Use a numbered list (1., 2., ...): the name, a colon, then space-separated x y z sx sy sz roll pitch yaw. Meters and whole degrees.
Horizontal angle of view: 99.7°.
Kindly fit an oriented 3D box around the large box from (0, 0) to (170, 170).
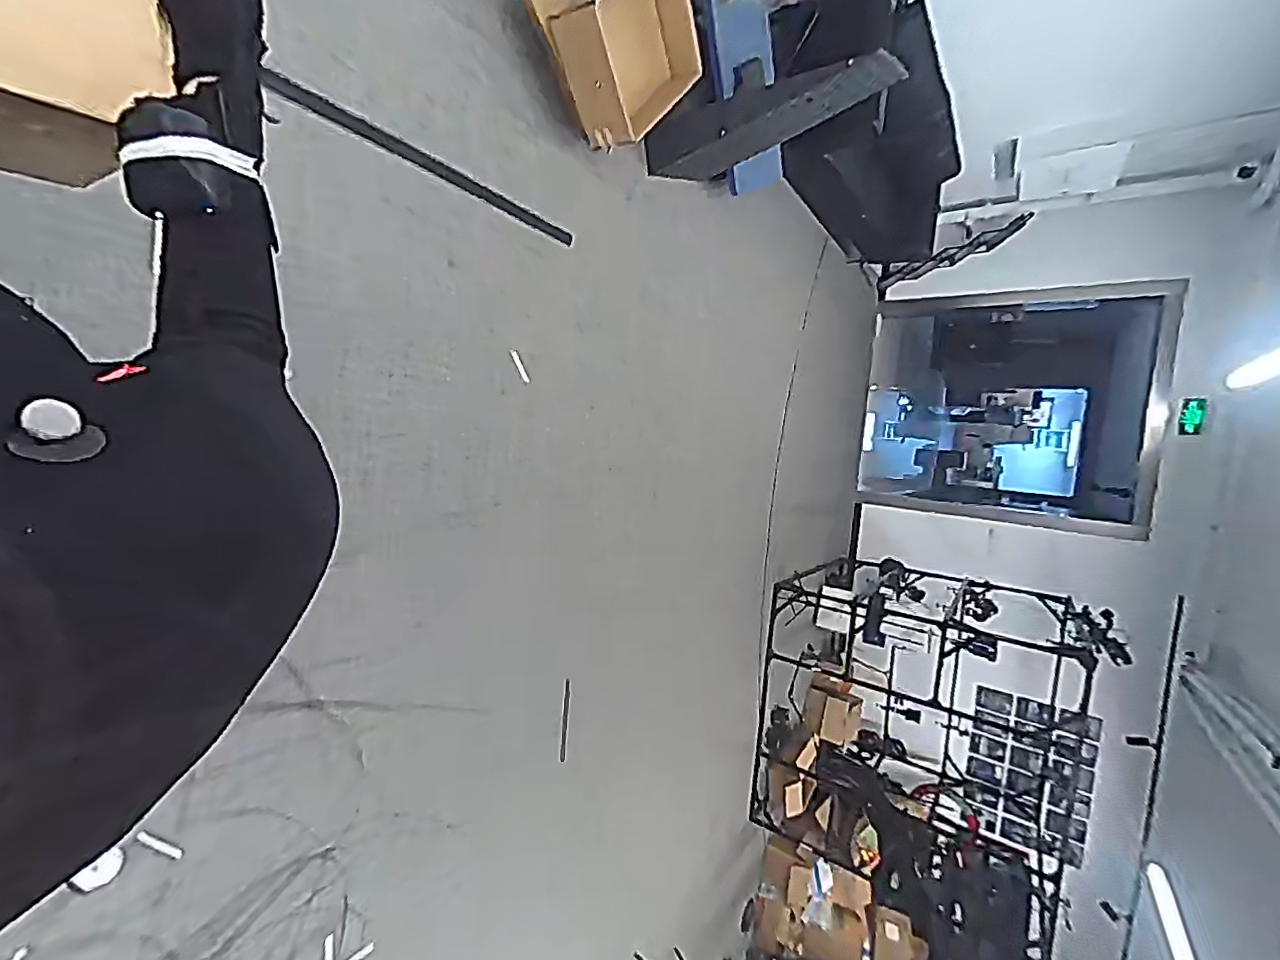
1. large box: -0.571 -0.417 0.294 0.408 0.320 0.320 -10 110 -54
